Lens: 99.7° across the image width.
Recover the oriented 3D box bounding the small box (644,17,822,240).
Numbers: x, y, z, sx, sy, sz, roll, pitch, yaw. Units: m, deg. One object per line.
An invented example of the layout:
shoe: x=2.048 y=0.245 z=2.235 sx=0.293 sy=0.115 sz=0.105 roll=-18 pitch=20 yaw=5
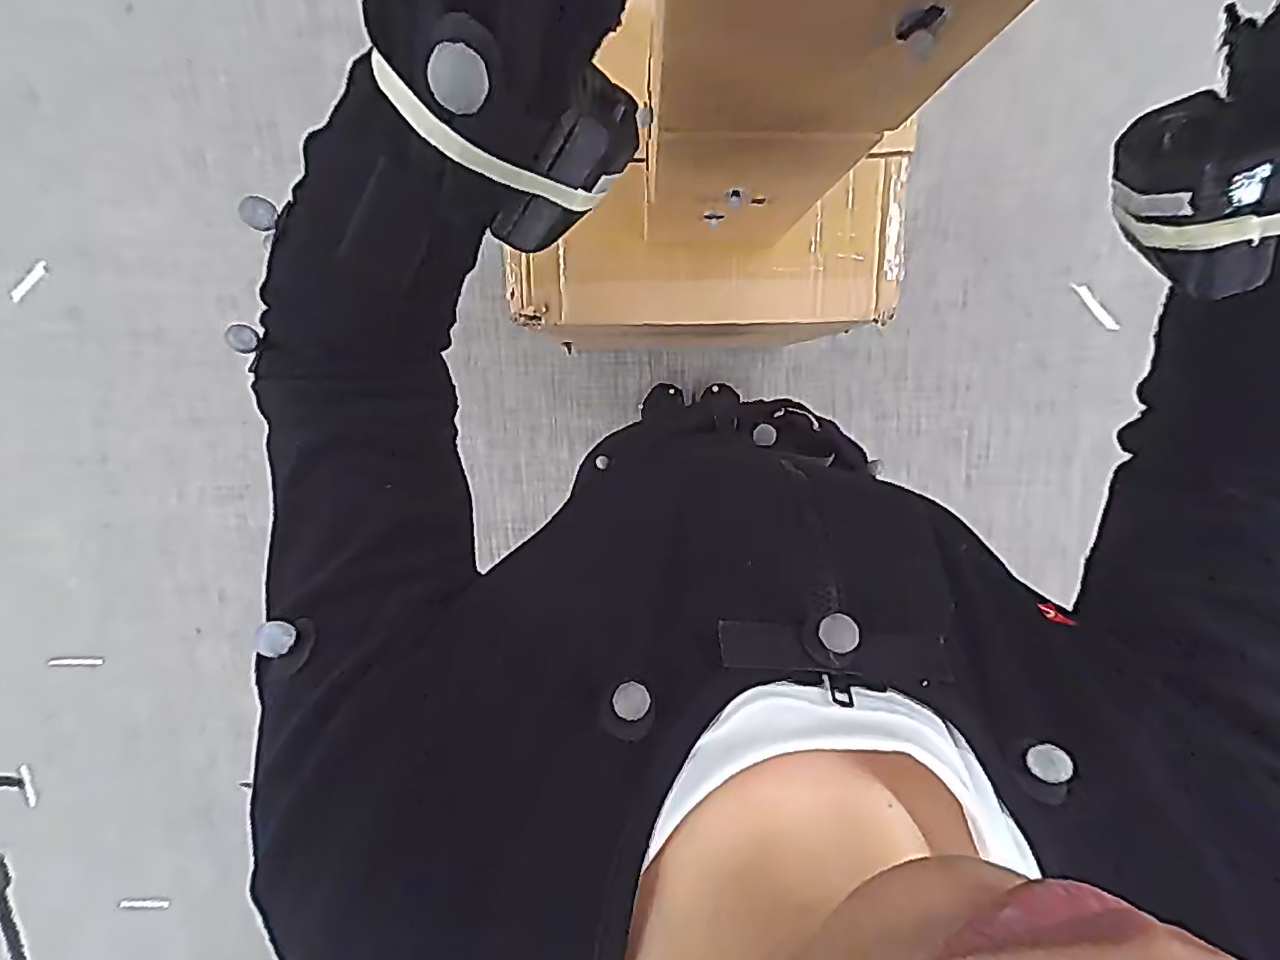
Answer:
small box: x=0.095 y=-0.380 z=0.612 sx=0.179 sy=0.176 sz=0.168 roll=1 pitch=101 yaw=0

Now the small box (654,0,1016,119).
small box: x=0.098 y=-0.320 z=0.288 sx=0.179 sy=0.176 sz=0.168 roll=0 pitch=101 yaw=1
